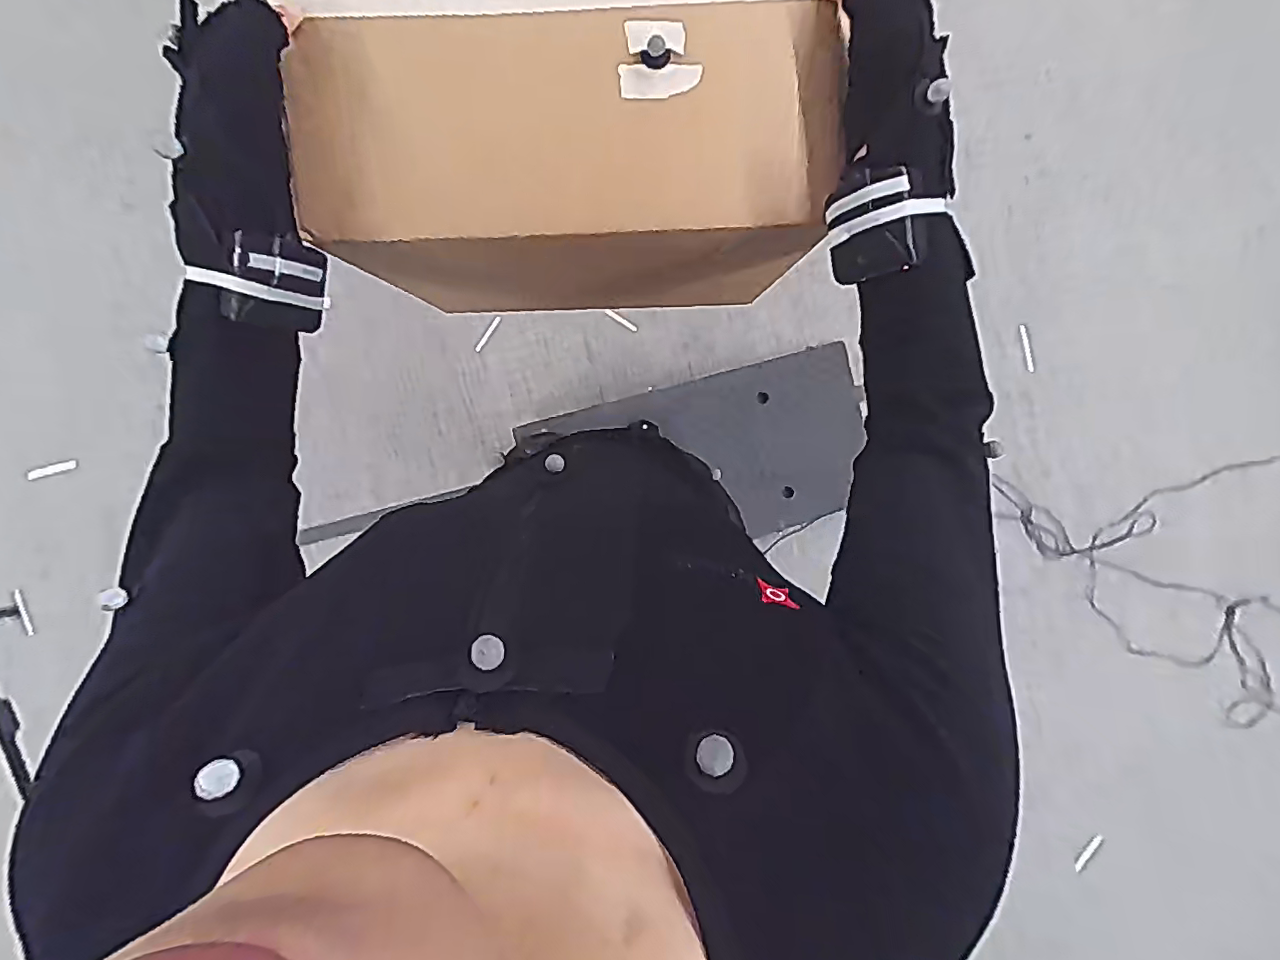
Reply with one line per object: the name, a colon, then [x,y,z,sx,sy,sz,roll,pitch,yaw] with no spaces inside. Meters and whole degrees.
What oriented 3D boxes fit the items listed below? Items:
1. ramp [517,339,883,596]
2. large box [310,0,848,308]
ramp: [0.202,-0.054,1.547,0.991,0.206,0.509,-18,92,1]
large box: [-0.047,-0.366,0.544,0.408,0.320,0.320,-2,98,-1]
